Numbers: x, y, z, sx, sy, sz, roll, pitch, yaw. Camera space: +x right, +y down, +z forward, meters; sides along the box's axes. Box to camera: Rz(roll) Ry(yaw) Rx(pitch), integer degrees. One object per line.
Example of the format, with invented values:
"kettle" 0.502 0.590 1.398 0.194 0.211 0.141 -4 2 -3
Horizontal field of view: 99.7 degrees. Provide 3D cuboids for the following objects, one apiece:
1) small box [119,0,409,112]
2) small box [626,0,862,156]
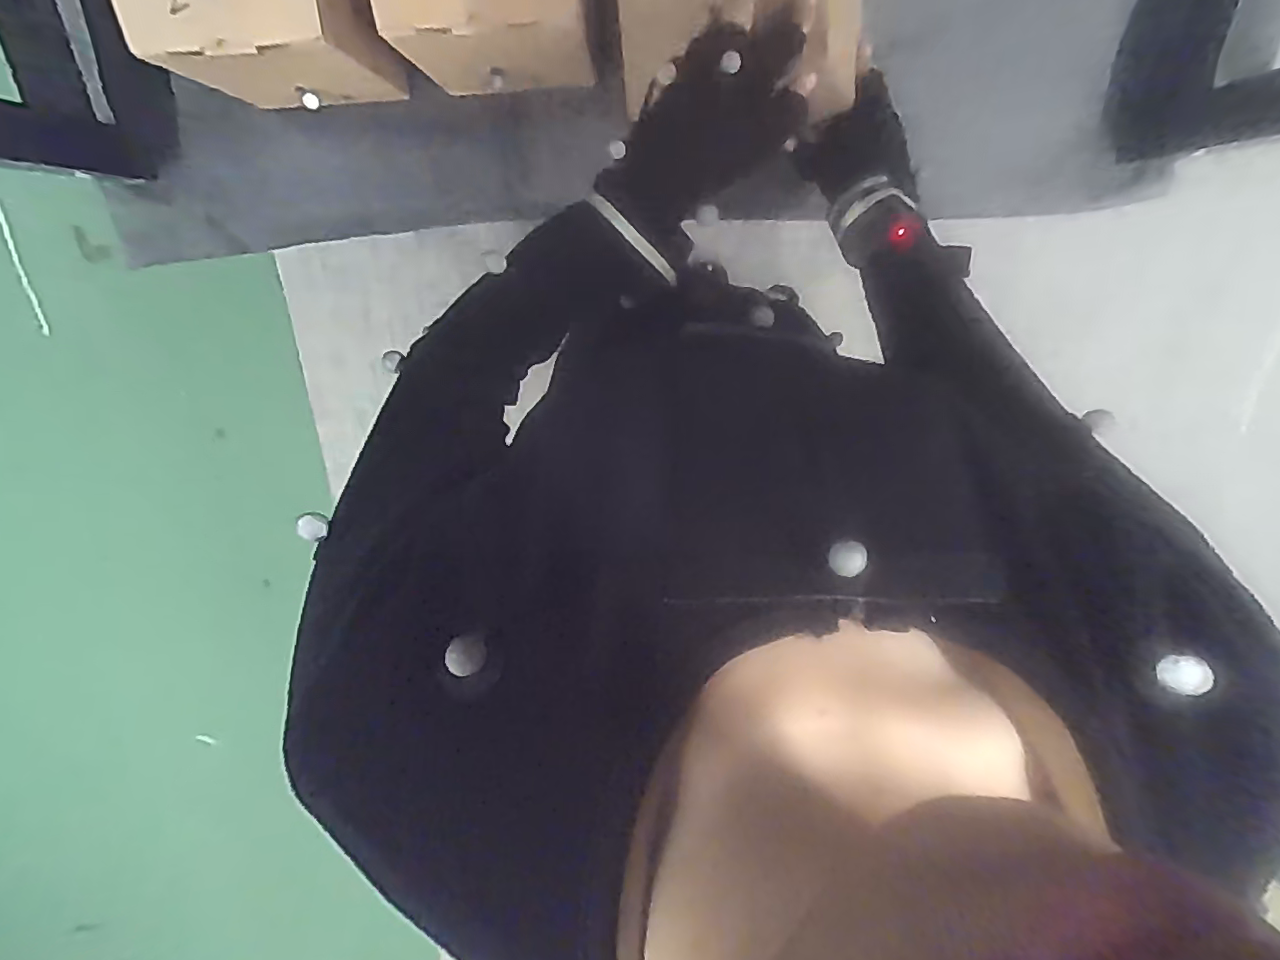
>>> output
"small box" -0.334 -0.460 0.487 0.168 0.176 0.179 -2 112 2
"small box" 0.094 -0.409 0.466 0.168 0.176 0.179 4 111 27
